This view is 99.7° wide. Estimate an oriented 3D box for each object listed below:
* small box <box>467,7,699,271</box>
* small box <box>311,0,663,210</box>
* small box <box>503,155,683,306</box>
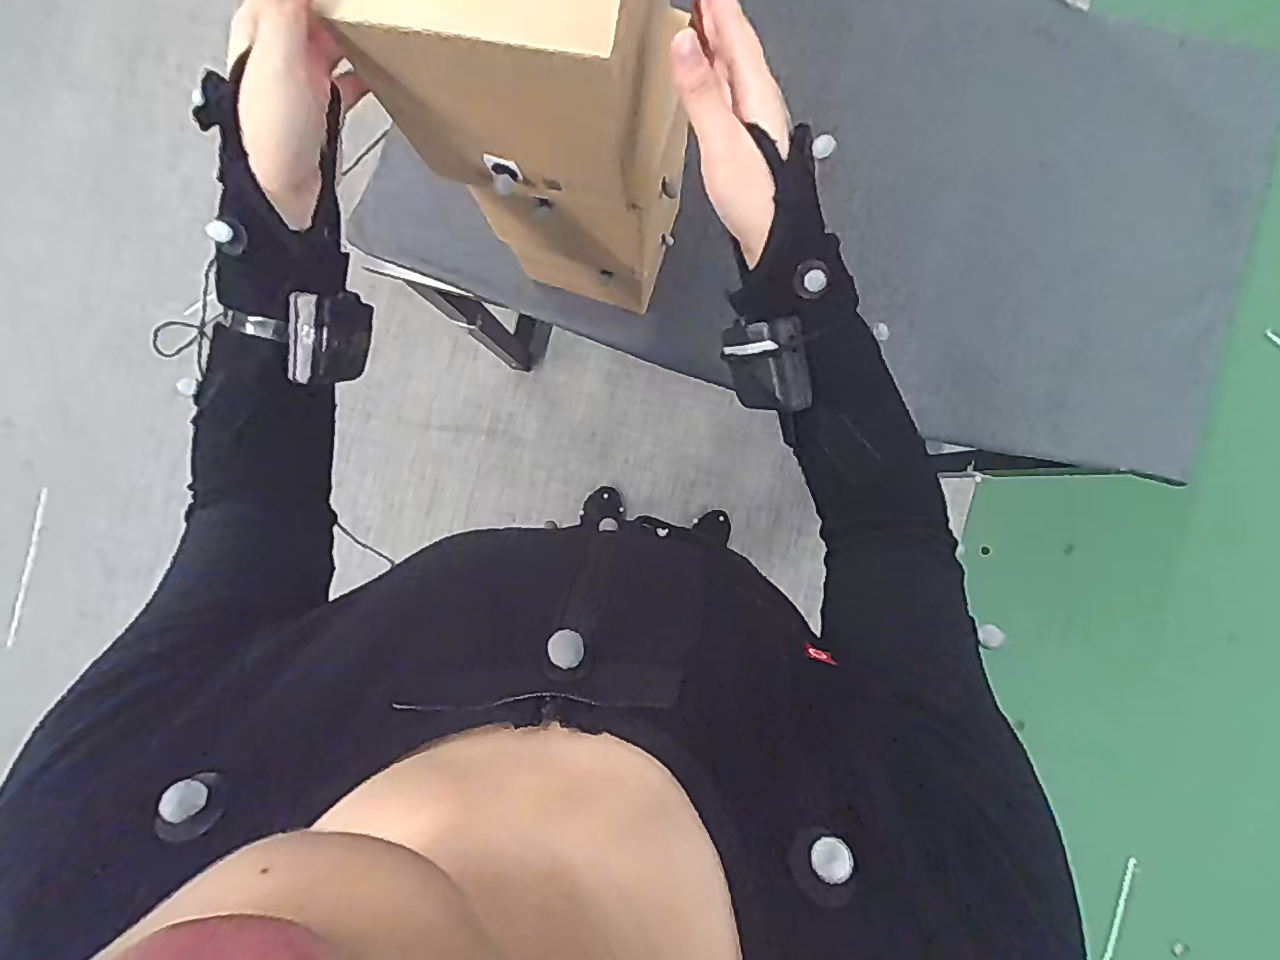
[{"bbox_3d":[-0.054,-0.326,0.526,0.179,0.176,0.168,17,91,2],"label":"small box"},{"bbox_3d":[-0.077,-0.318,0.364,0.168,0.176,0.179,11,91,3],"label":"small box"},{"bbox_3d":[-0.053,-0.340,0.688,0.179,0.176,0.168,18,90,1],"label":"small box"}]
